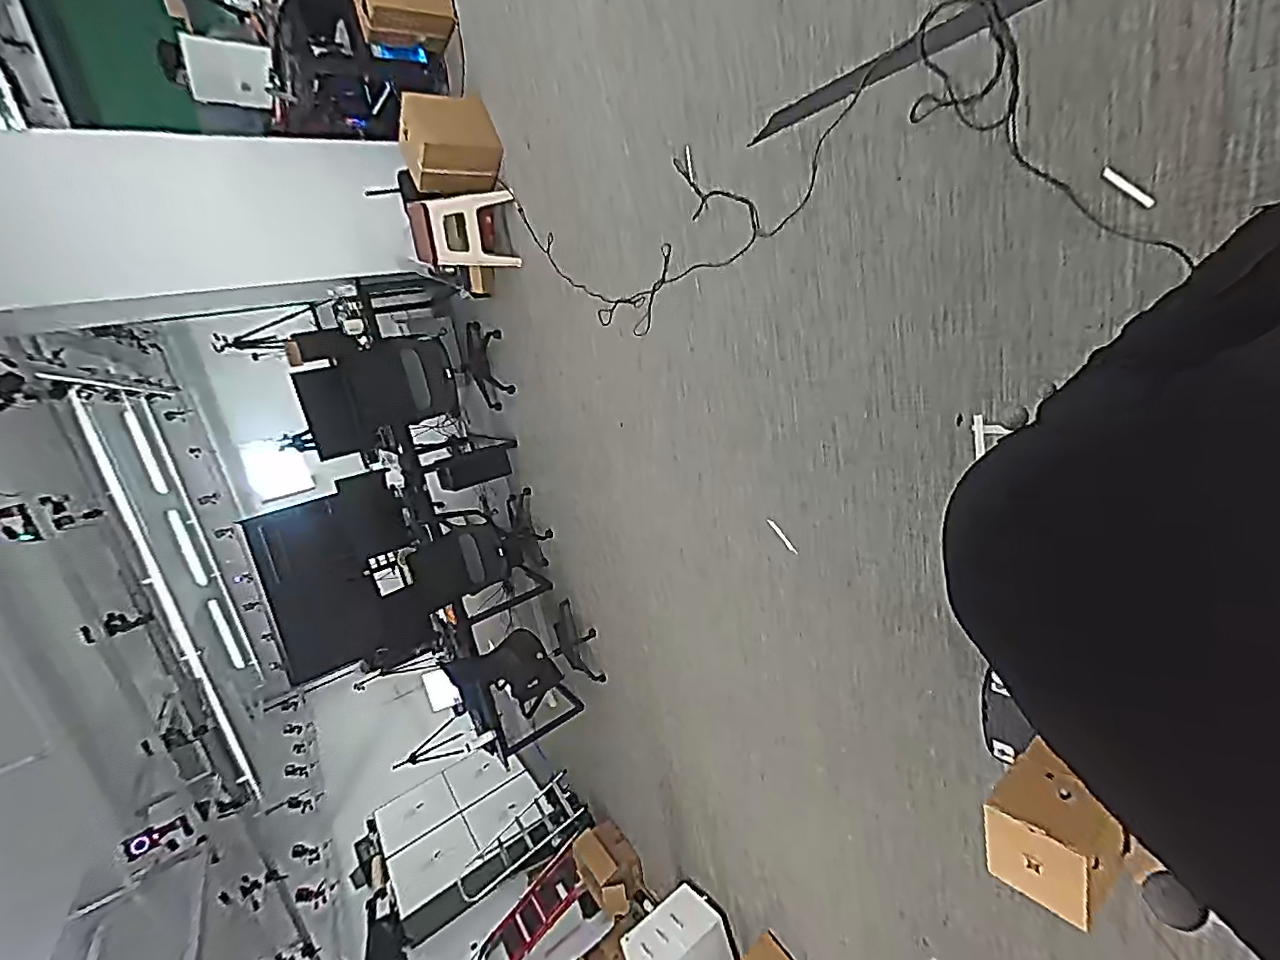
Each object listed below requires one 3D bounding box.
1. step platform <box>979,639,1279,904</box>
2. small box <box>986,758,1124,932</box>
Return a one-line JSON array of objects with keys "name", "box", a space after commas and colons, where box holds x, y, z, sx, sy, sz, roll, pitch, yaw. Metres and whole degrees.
[{"name": "step platform", "box": [1.114, 0.604, 1.142, 0.684, 0.204, 0.286, 10, 117, 54]}, {"name": "small box", "box": [0.794, 0.682, 1.034, 0.168, 0.176, 0.179, 8, 114, 56]}]
